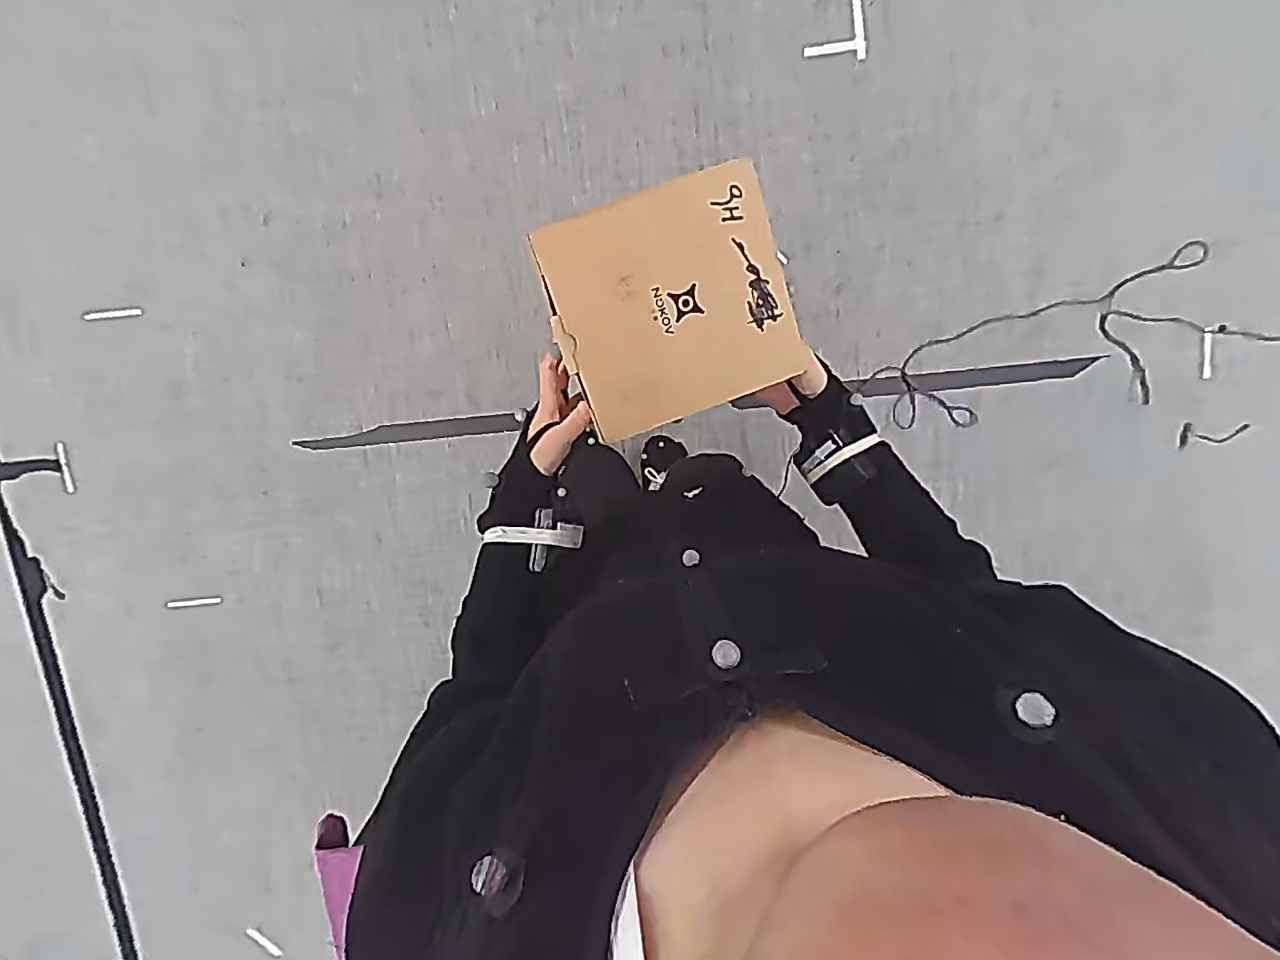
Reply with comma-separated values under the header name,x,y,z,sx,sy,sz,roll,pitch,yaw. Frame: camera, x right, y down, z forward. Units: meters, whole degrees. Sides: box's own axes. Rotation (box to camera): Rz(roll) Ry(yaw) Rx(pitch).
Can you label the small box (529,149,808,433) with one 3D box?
name,x,y,z,sx,sy,sz,roll,pitch,yaw
small box,0.020,-0.152,0.482,0.179,0.176,0.168,-20,103,-1
